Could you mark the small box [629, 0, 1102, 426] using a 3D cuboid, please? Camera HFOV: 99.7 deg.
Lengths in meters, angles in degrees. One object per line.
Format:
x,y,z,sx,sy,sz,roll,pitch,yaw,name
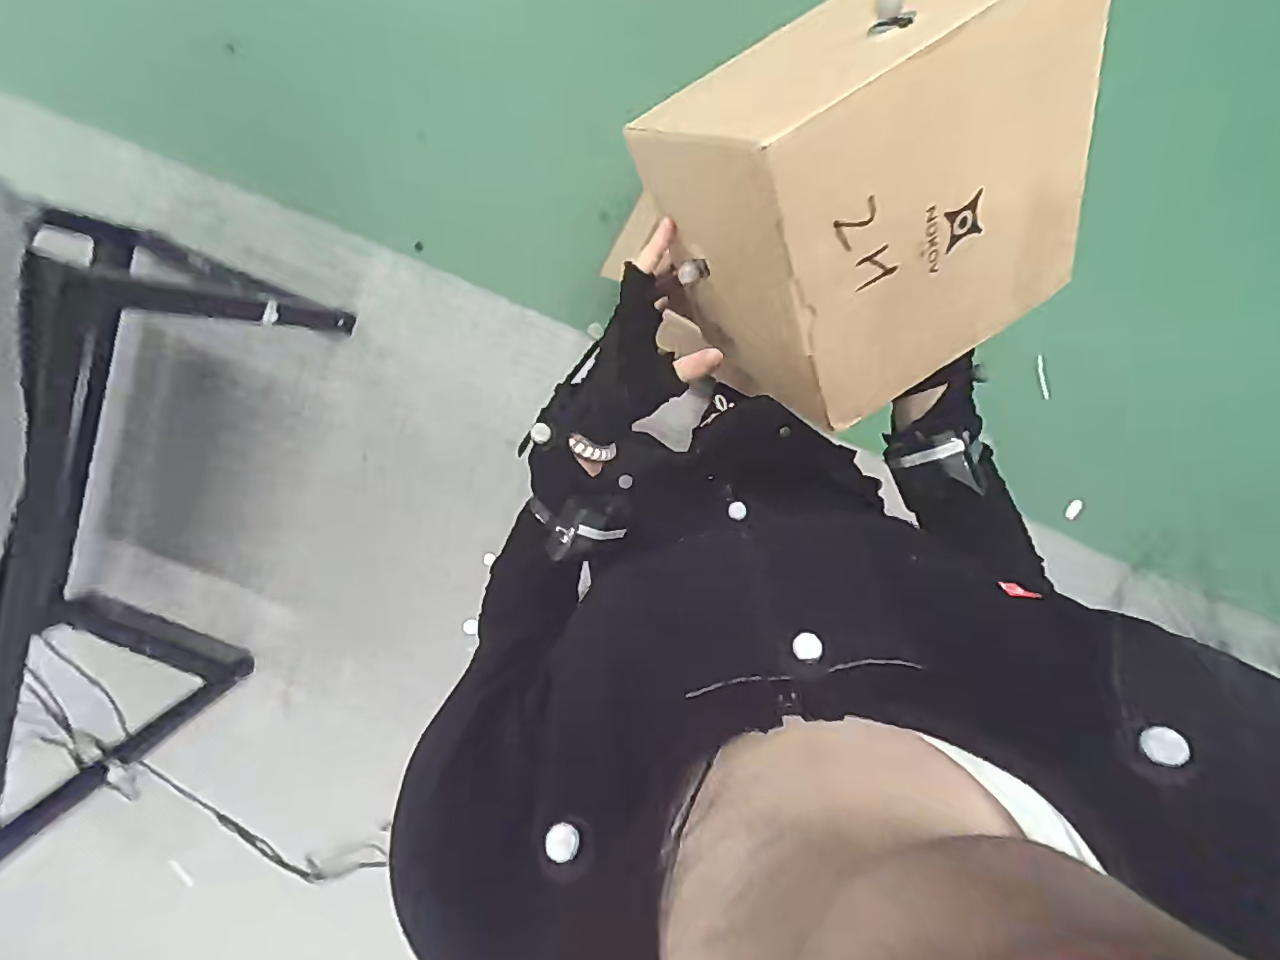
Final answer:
0.121,-0.172,0.329,0.179,0.176,0.168,-33,130,-2,small box
